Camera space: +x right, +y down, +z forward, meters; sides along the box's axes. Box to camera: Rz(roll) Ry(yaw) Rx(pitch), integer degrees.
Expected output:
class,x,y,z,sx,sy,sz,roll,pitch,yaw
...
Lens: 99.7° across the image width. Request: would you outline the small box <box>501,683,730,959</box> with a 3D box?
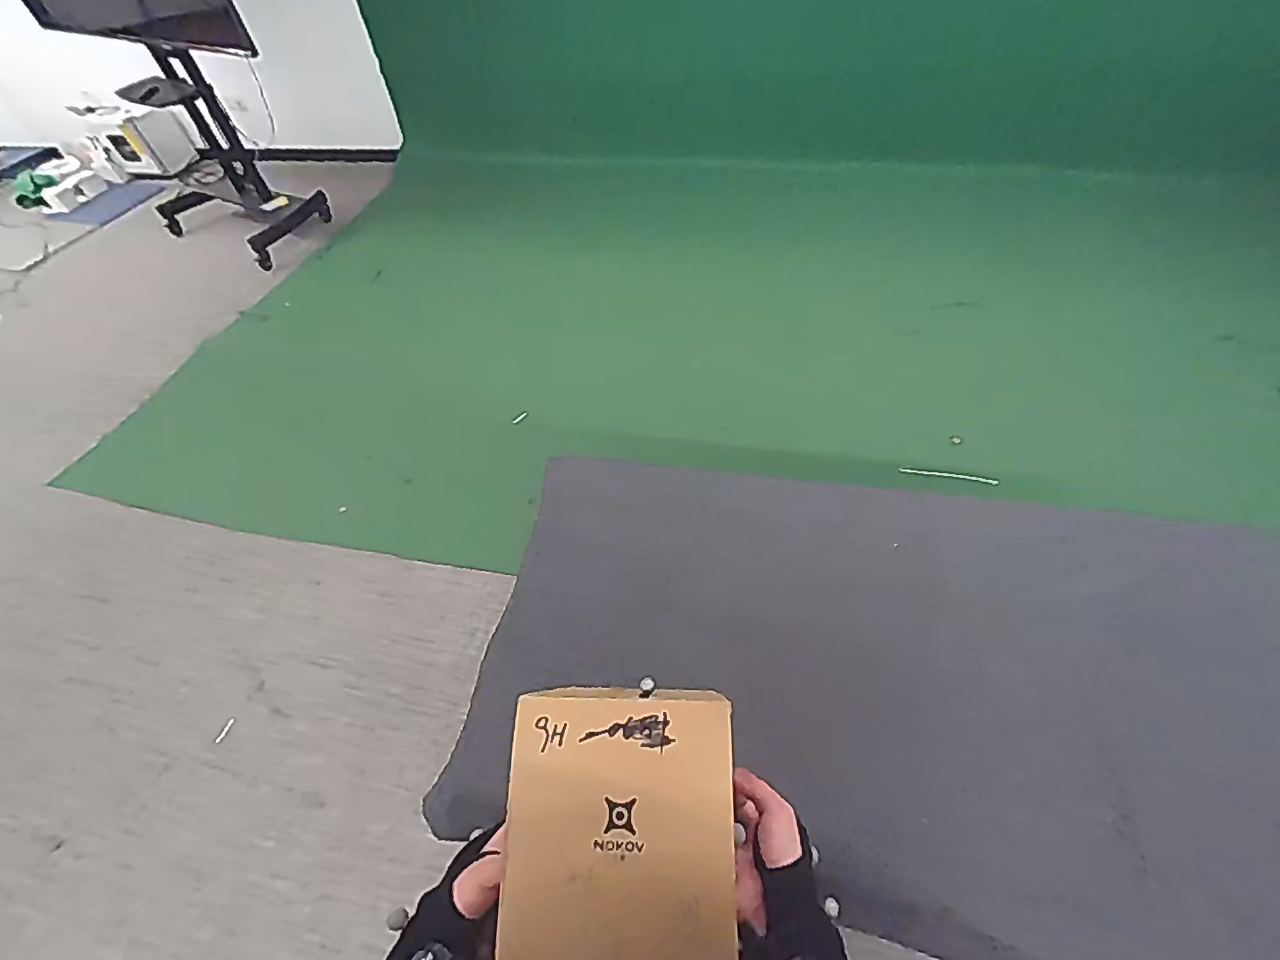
class,x,y,z,sx,sy,sz,roll,pitch,yaw
small box,-0.009,0.280,0.474,0.168,0.176,0.179,0,73,4
